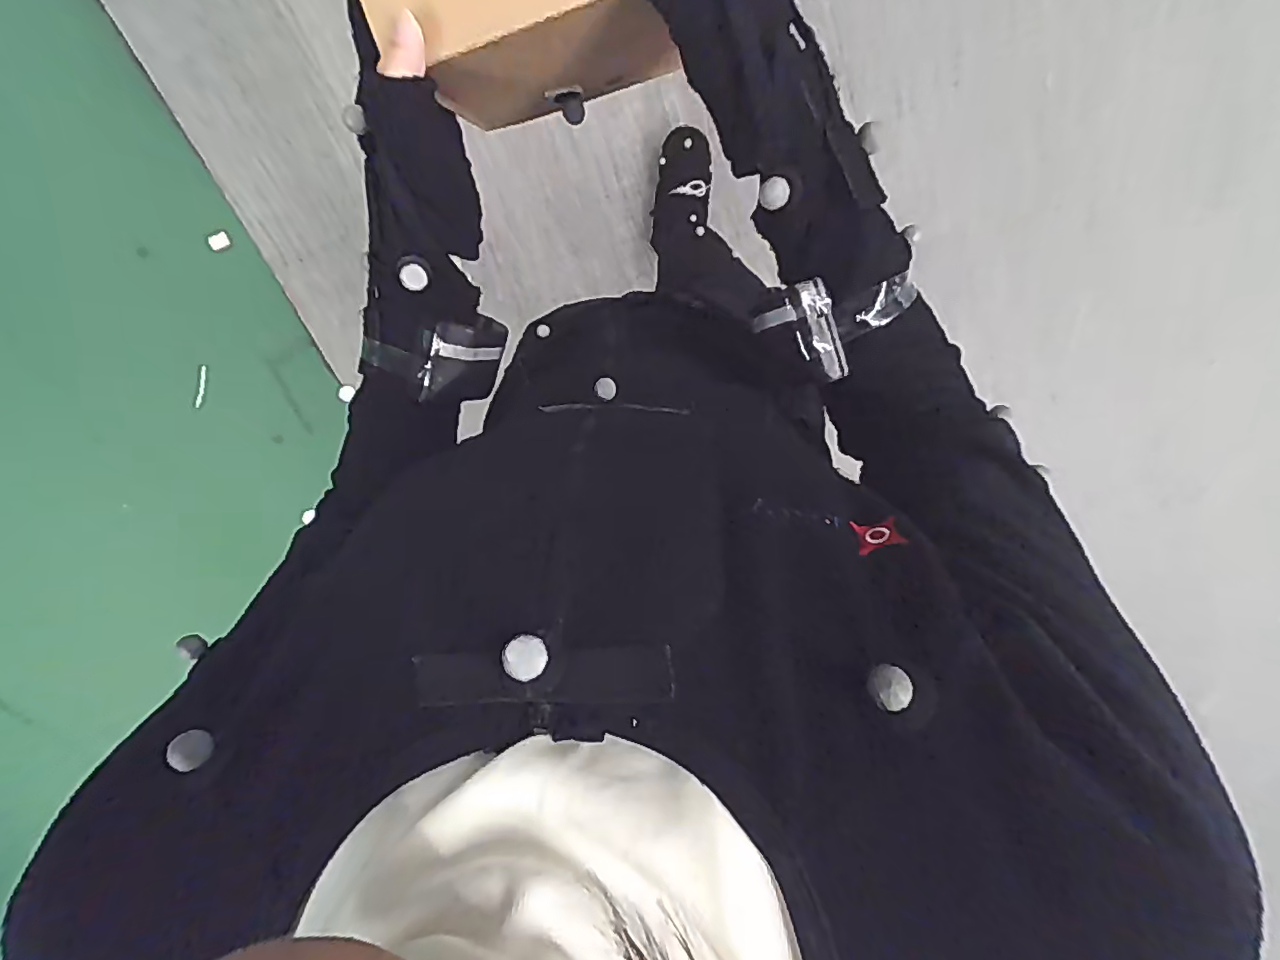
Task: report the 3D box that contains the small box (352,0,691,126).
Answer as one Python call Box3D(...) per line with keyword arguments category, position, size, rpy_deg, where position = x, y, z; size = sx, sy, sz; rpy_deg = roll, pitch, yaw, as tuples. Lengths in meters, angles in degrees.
Box3D(category="small box", position=(-0.070, -0.333, 0.304), size=(0.168, 0.176, 0.179), rpy_deg=(-12, 114, 11))
